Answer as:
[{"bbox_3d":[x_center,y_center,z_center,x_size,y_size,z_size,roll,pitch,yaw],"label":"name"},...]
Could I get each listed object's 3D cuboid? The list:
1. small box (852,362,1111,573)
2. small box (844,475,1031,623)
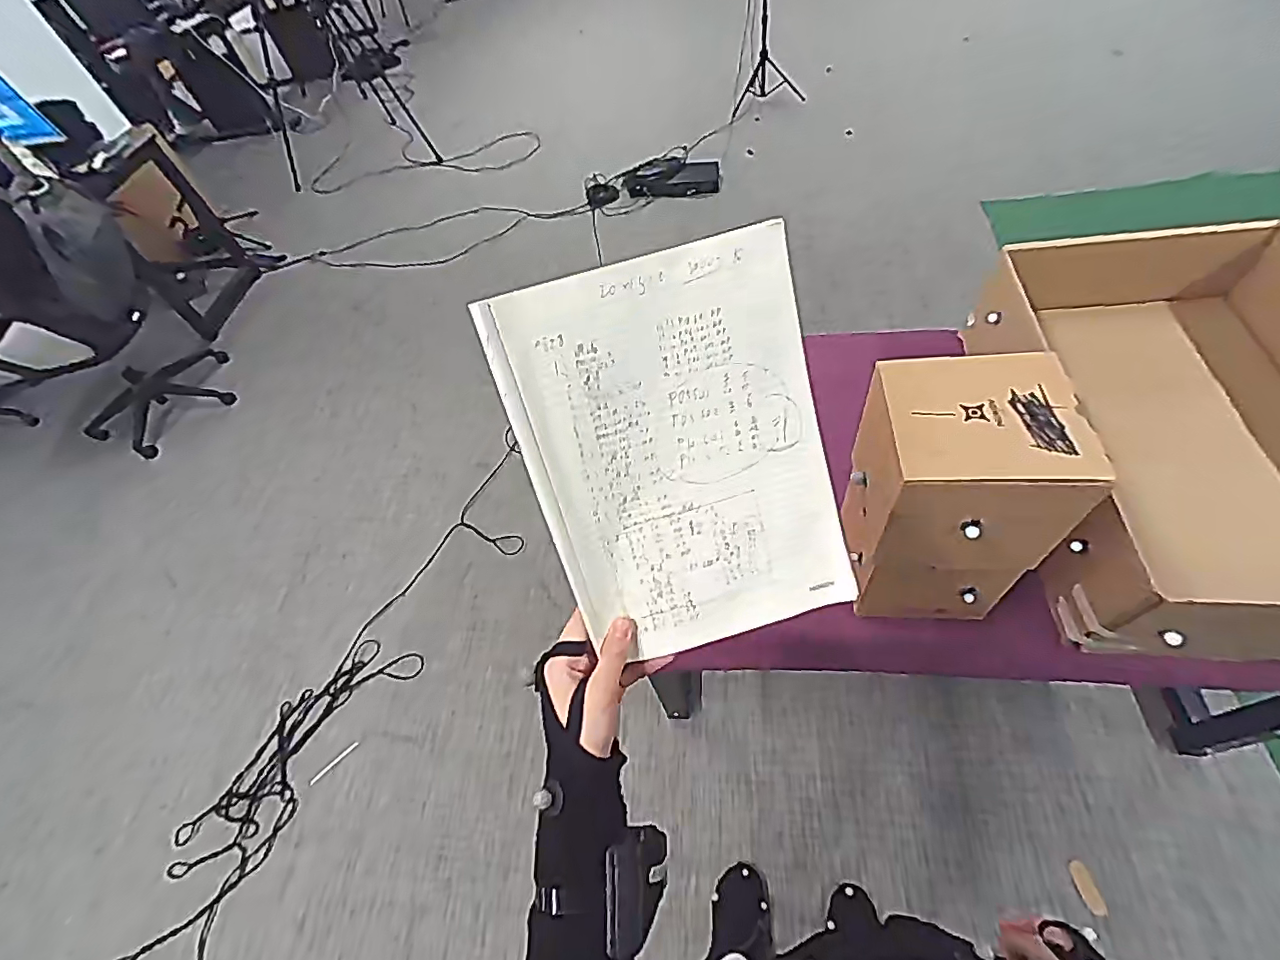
[{"bbox_3d":[0.345,-0.009,0.591,0.179,0.176,0.168,0,53,11],"label":"small box"},{"bbox_3d":[0.378,0.080,0.725,0.168,0.176,0.179,0,53,10],"label":"small box"}]
